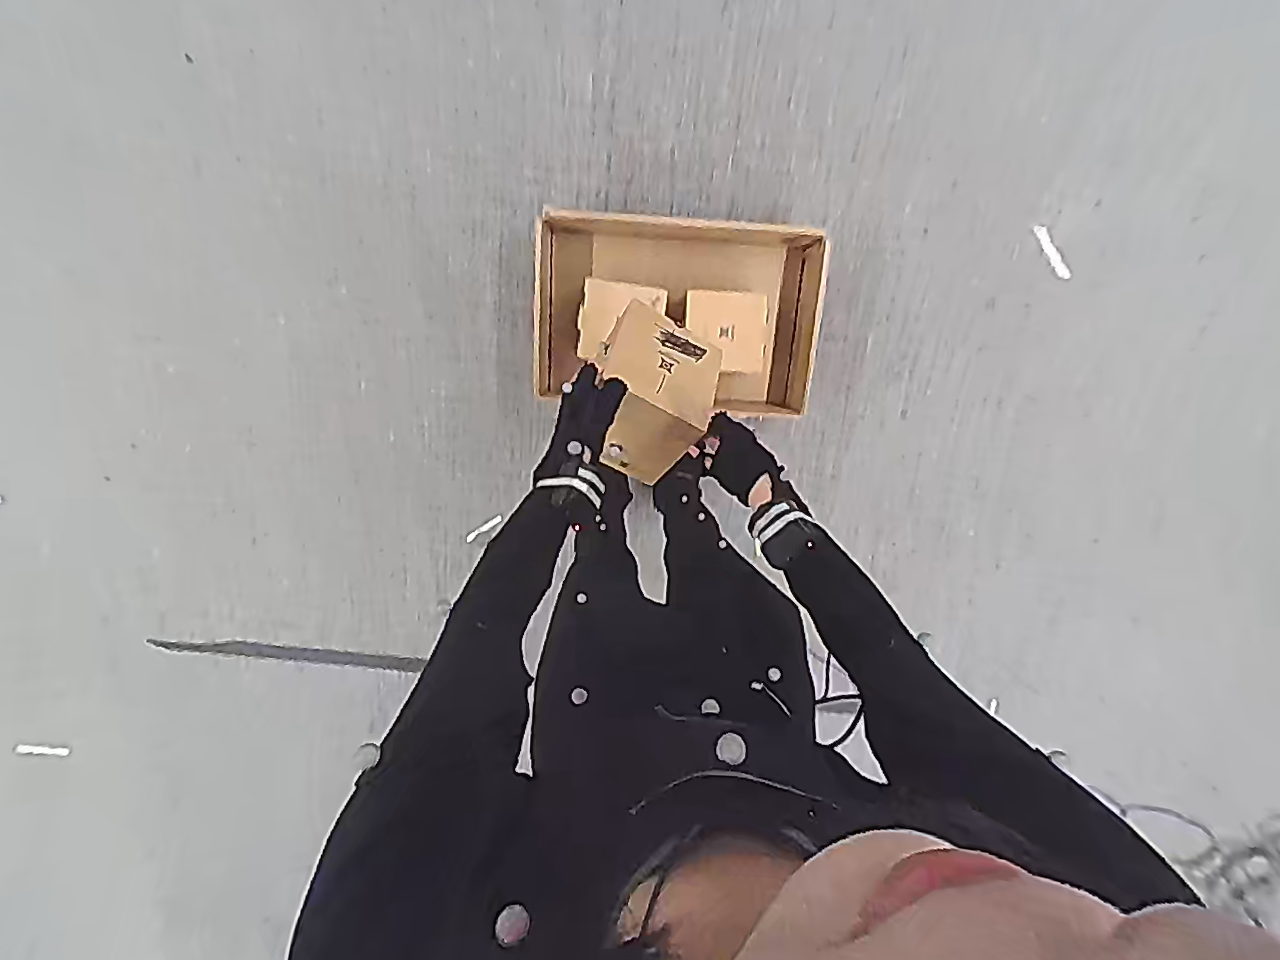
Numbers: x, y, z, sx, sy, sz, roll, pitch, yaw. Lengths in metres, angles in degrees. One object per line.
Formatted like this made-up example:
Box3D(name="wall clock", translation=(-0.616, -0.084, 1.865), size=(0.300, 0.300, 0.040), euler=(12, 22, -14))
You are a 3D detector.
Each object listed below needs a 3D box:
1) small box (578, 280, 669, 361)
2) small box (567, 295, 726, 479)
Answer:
Box3D(name="small box", translation=(-0.037, -0.344, 1.222), size=(0.179, 0.176, 0.168), euler=(8, 105, -3))
Box3D(name="small box", translation=(0.007, -0.133, 0.819), size=(0.168, 0.179, 0.176), euler=(26, 145, -14))
